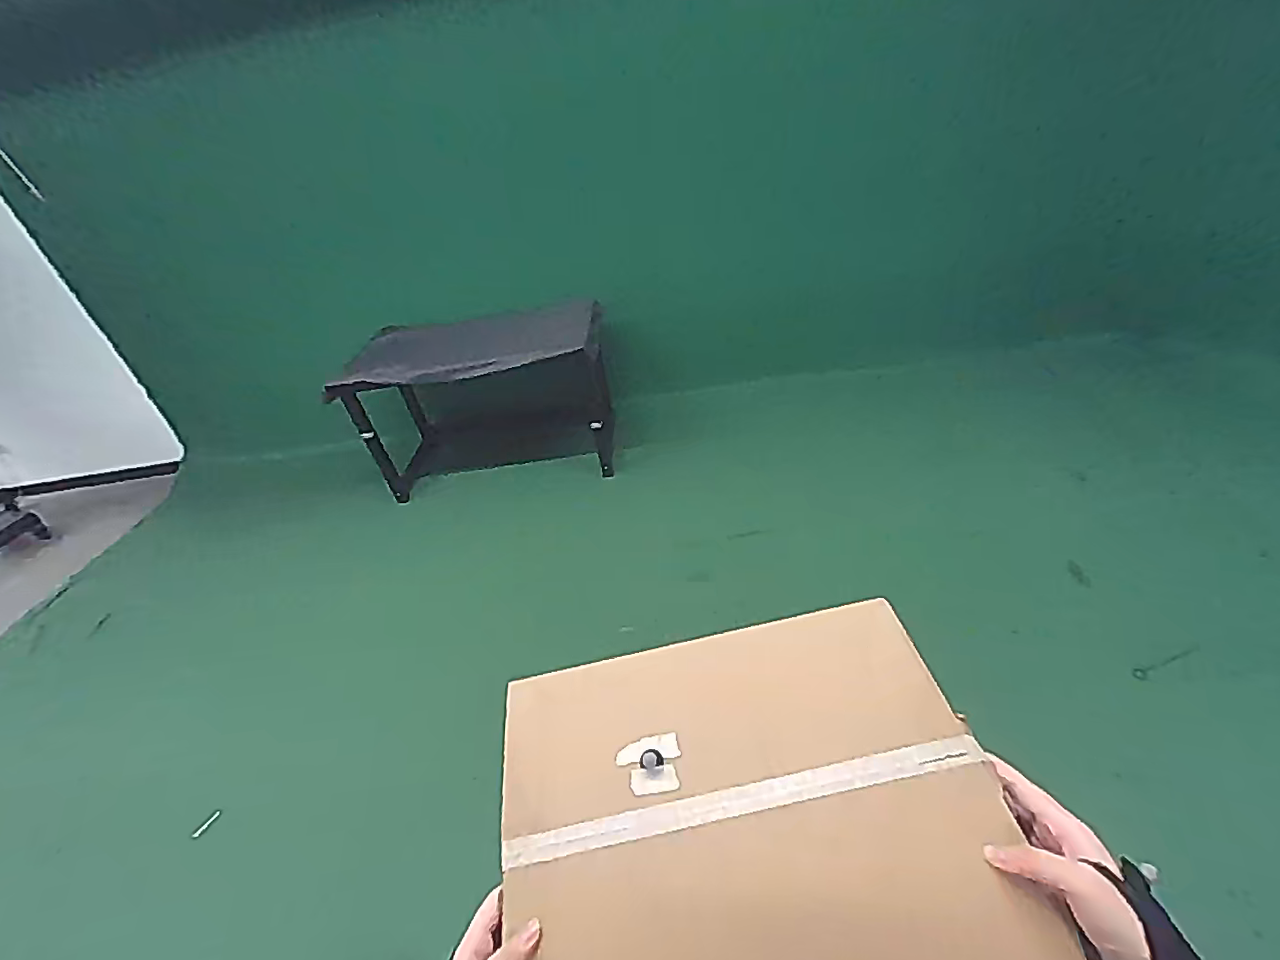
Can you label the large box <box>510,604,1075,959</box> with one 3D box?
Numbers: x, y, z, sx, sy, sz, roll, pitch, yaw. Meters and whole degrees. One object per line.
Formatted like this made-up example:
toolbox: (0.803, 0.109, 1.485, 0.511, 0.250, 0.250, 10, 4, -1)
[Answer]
large box: (0.111, 0.384, 0.569, 0.408, 0.320, 0.320, -14, 43, 2)
